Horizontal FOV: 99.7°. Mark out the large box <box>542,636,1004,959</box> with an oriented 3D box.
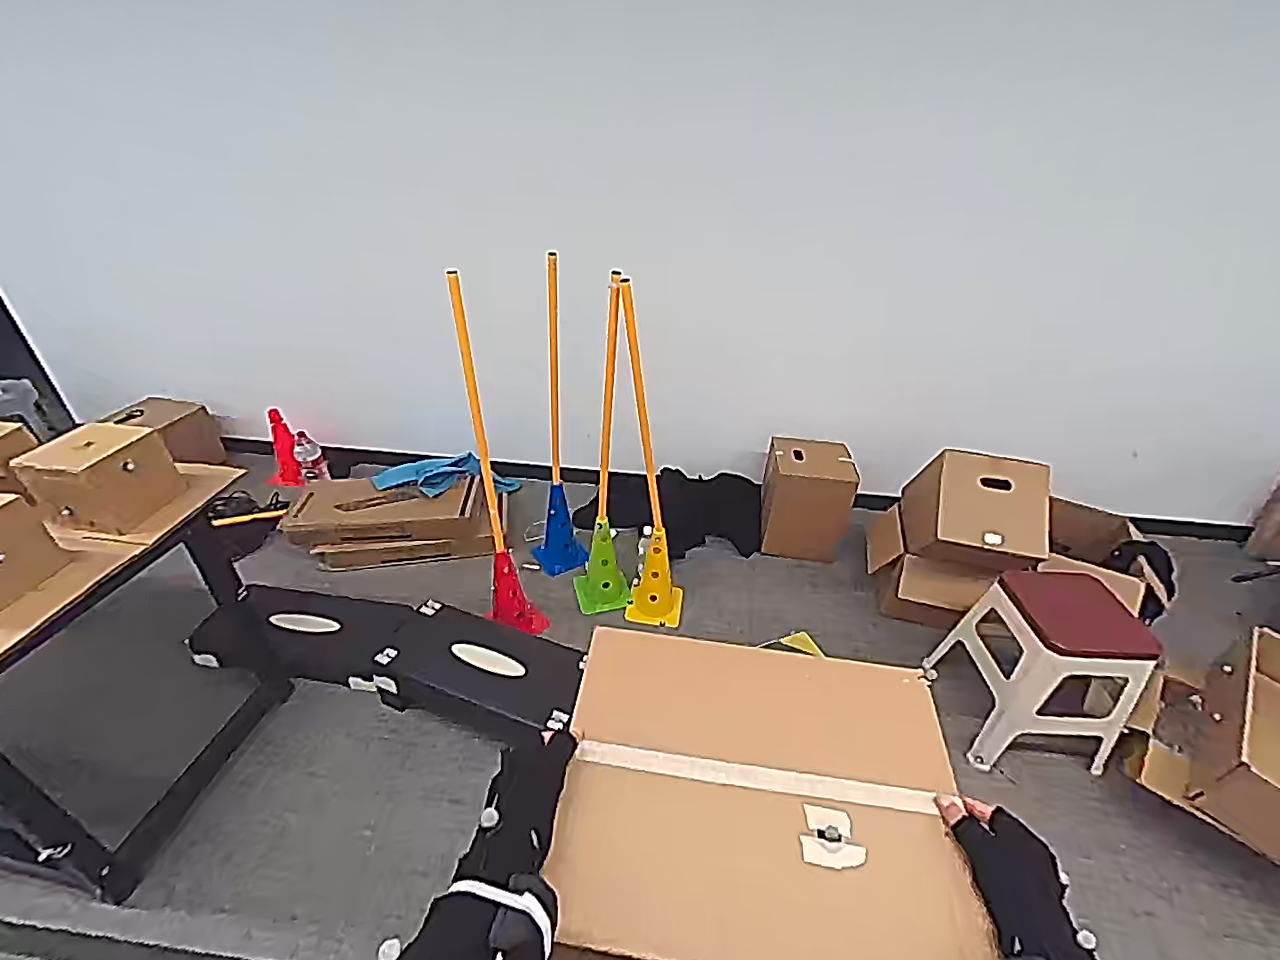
[{"bbox_3d":[0.123,0.430,0.660,0.408,0.320,0.320,6,40,6],"label":"large box"}]
